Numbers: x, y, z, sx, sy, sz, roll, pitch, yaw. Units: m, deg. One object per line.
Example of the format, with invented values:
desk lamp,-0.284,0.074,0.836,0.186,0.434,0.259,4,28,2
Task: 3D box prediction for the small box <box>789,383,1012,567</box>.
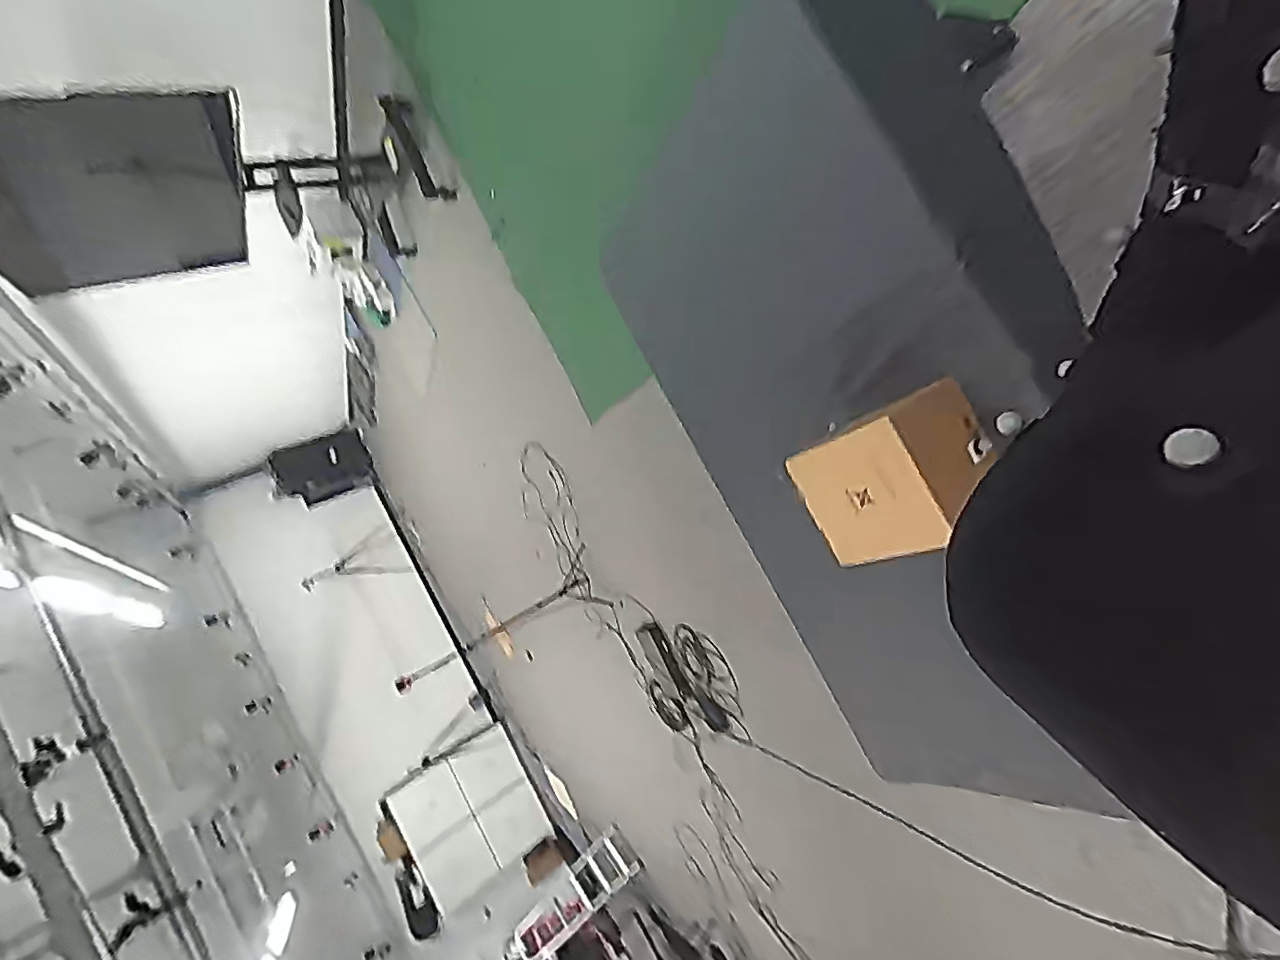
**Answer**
small box,0.343,-0.005,0.722,0.168,0.176,0.179,61,147,4
